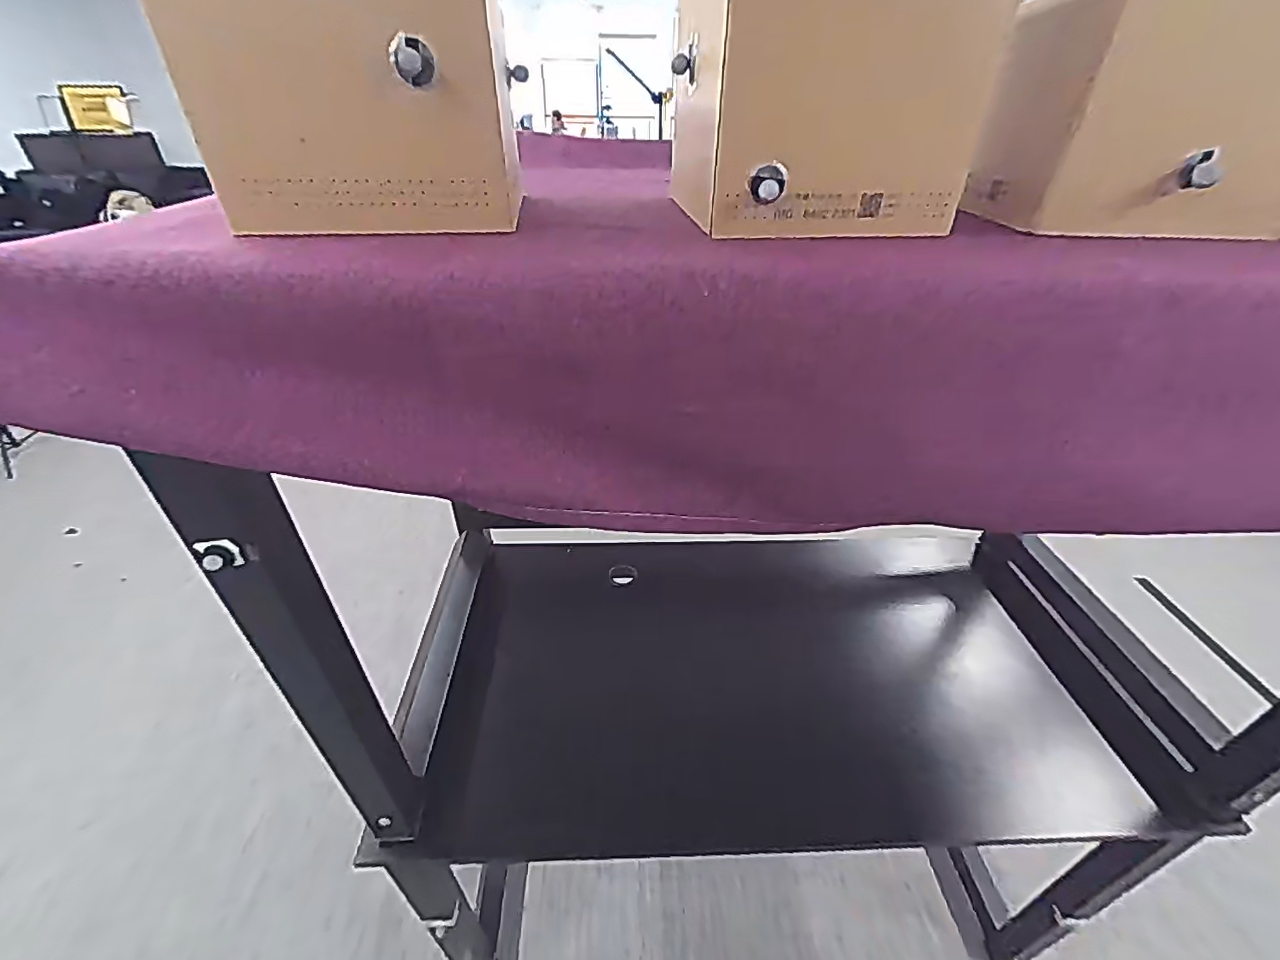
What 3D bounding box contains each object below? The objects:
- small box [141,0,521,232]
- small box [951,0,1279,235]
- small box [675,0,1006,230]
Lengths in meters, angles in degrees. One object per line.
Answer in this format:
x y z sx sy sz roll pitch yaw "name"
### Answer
-0.177 -0.272 0.361 0.179 0.176 0.168 -4 35 -6 "small box"
0.351 -0.276 0.378 0.179 0.176 0.168 2 35 0 "small box"
0.118 -0.276 0.373 0.168 0.176 0.179 -3 35 -5 "small box"
